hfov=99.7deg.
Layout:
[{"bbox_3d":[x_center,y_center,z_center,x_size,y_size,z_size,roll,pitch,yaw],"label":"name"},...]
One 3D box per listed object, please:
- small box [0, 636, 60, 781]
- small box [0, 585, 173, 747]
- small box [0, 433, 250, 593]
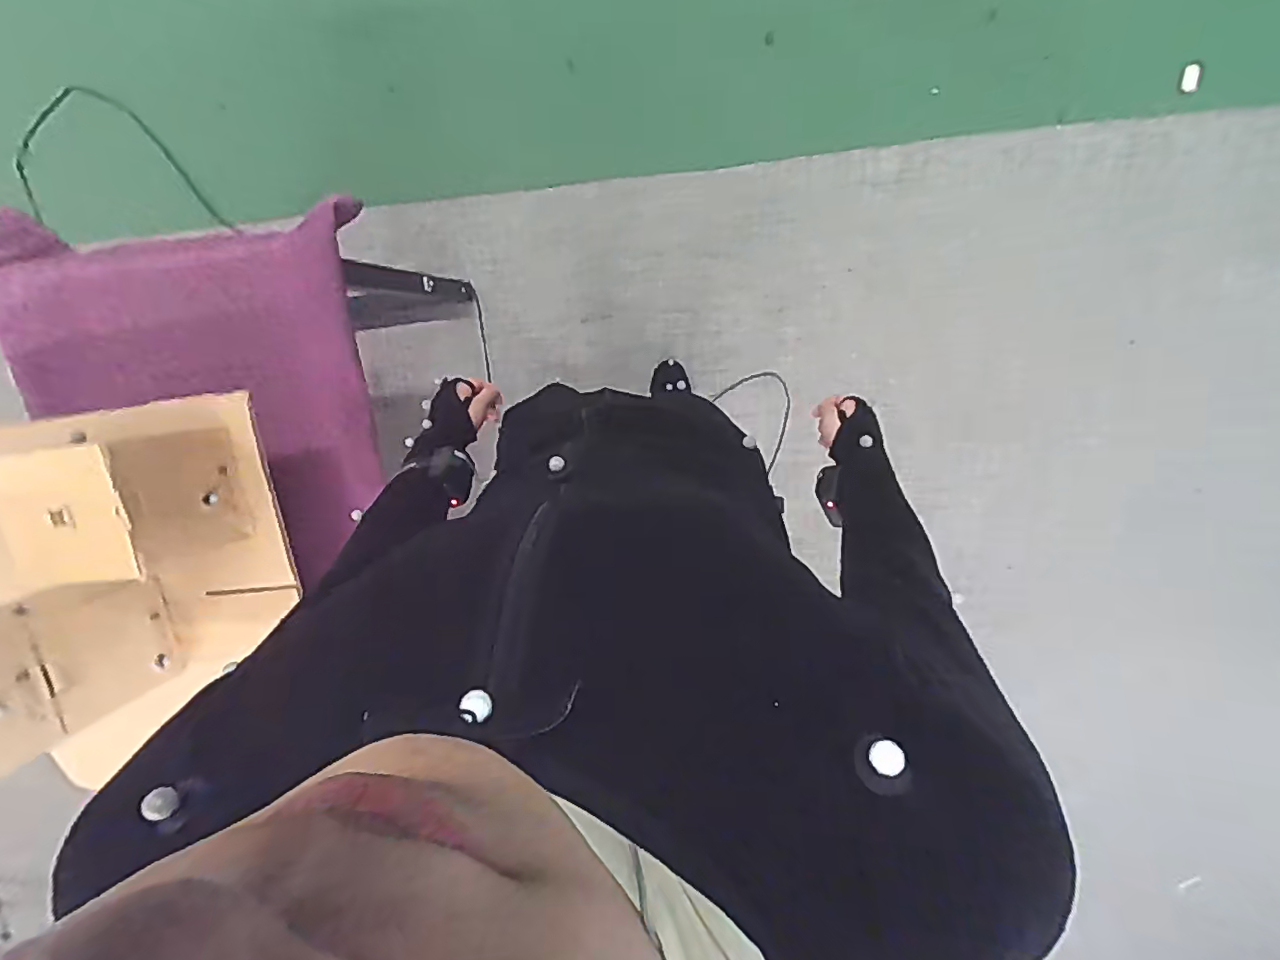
[{"bbox_3d":[-0.849,0.295,0.619,0.179,0.176,0.168,-6,101,7],"label":"small box"},{"bbox_3d":[-0.828,0.260,0.778,0.179,0.176,0.168,-6,101,8],"label":"small box"},{"bbox_3d":[-0.674,0.035,0.715,0.179,0.176,0.168,-6,102,7],"label":"small box"}]
